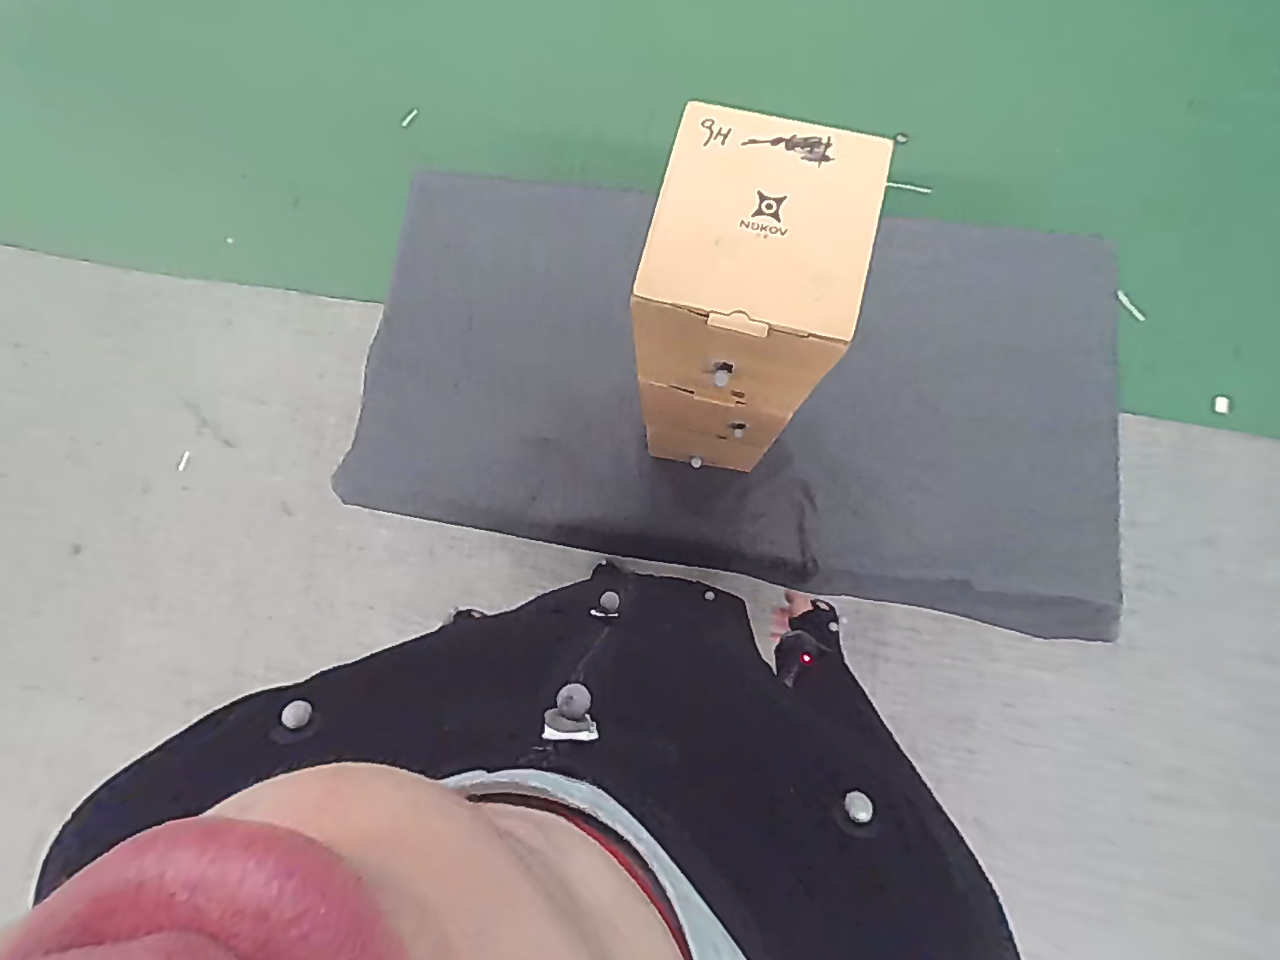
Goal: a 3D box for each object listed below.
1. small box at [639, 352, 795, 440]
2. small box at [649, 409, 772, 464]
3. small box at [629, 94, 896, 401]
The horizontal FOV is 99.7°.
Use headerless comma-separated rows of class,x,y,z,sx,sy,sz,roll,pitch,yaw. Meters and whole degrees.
small box,0.101,-0.159,0.643,0.168,0.176,0.179,13,80,4
small box,0.110,-0.135,0.803,0.168,0.176,0.179,10,82,5
small box,0.096,-0.186,0.482,0.168,0.176,0.179,15,83,4
